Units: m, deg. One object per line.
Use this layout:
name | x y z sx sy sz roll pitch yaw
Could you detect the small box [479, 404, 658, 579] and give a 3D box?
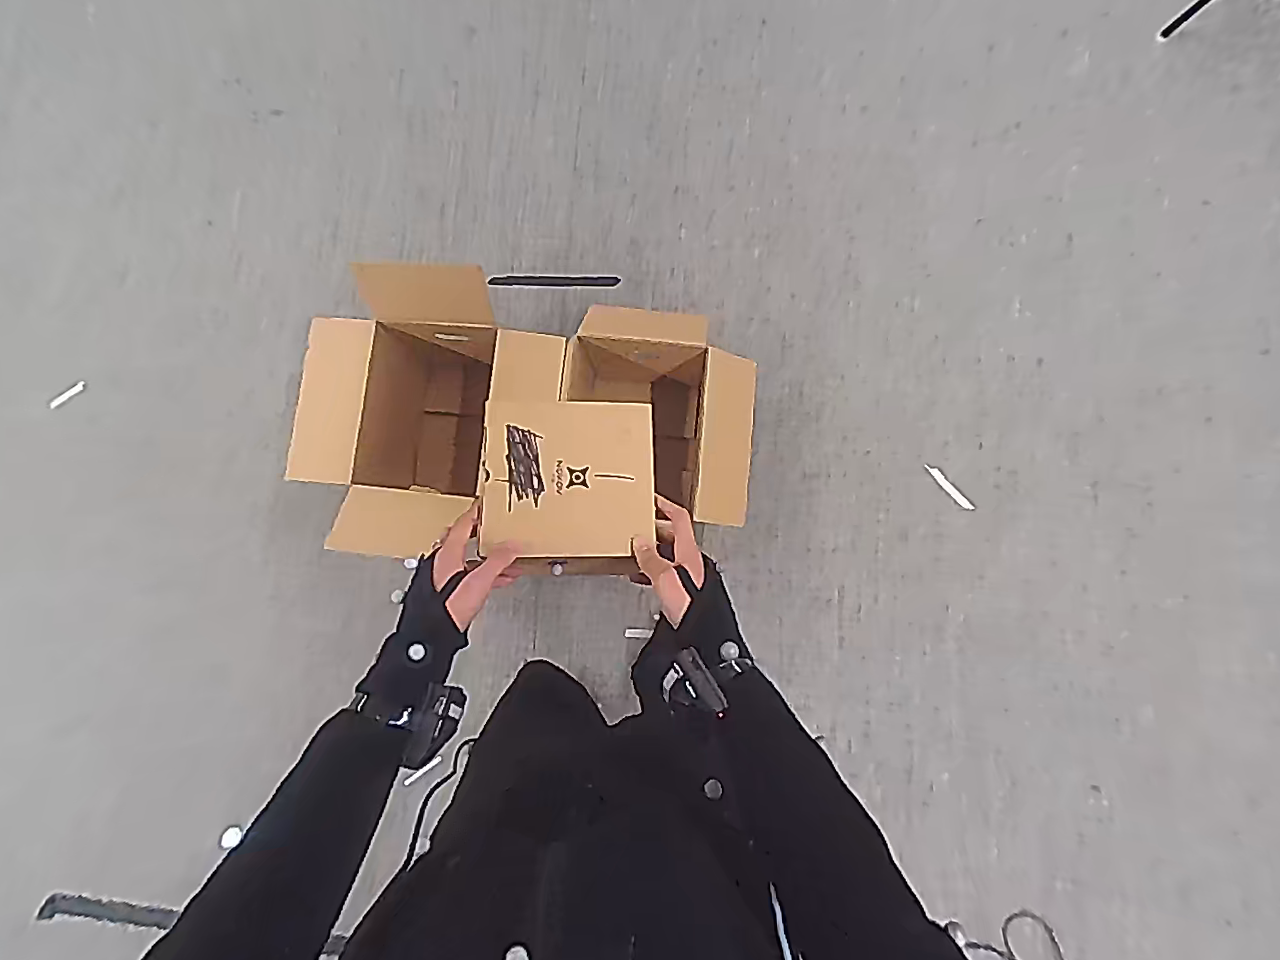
small box | -0.078 0.023 0.624 0.179 0.176 0.168 1 73 -7
